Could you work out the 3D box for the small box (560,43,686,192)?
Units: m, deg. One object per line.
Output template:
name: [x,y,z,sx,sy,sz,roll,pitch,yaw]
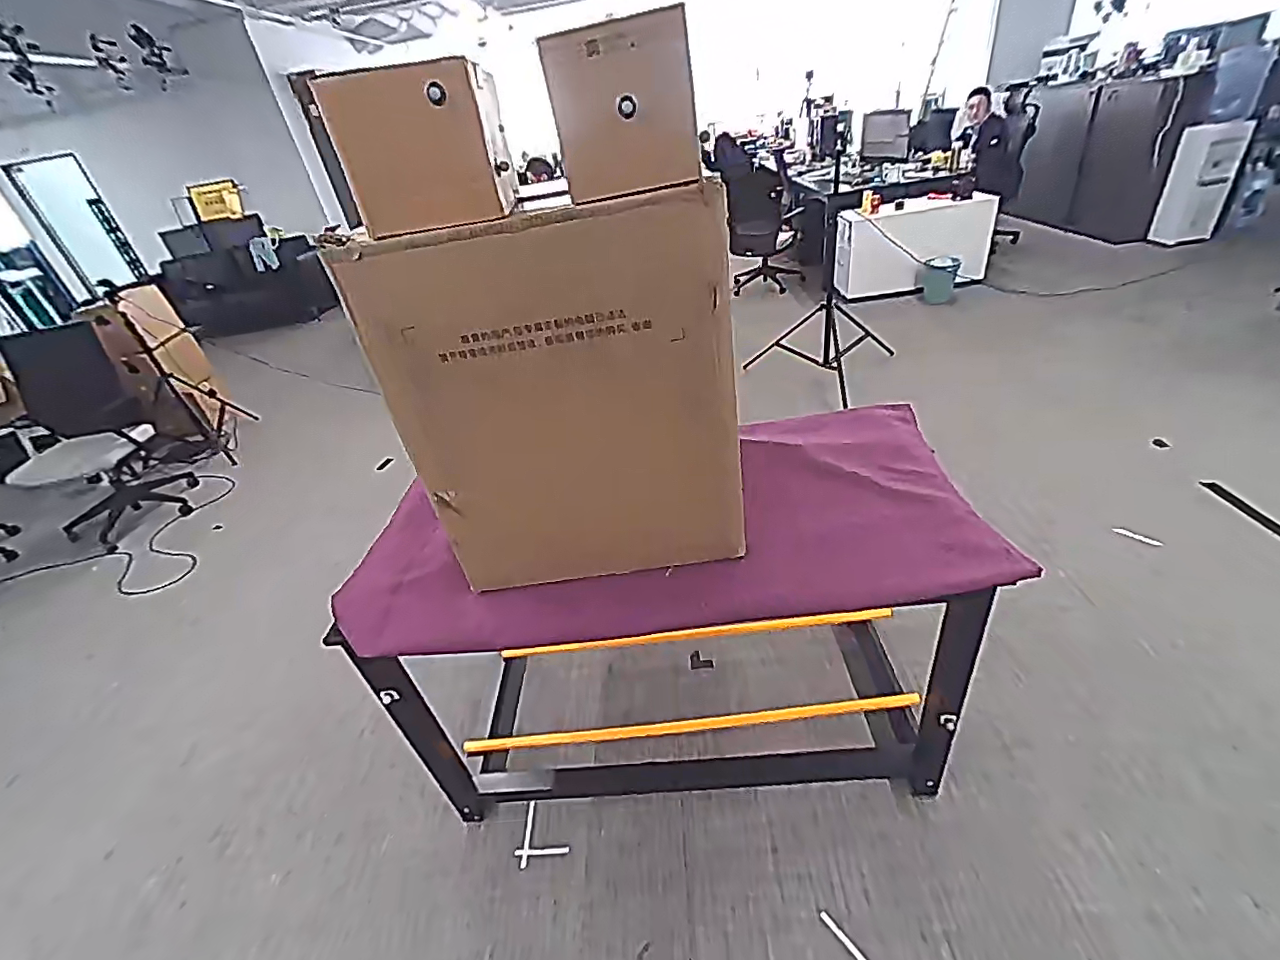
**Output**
small box: [-0.019,-0.574,0.871,0.168,0.176,0.179,-8,34,6]
